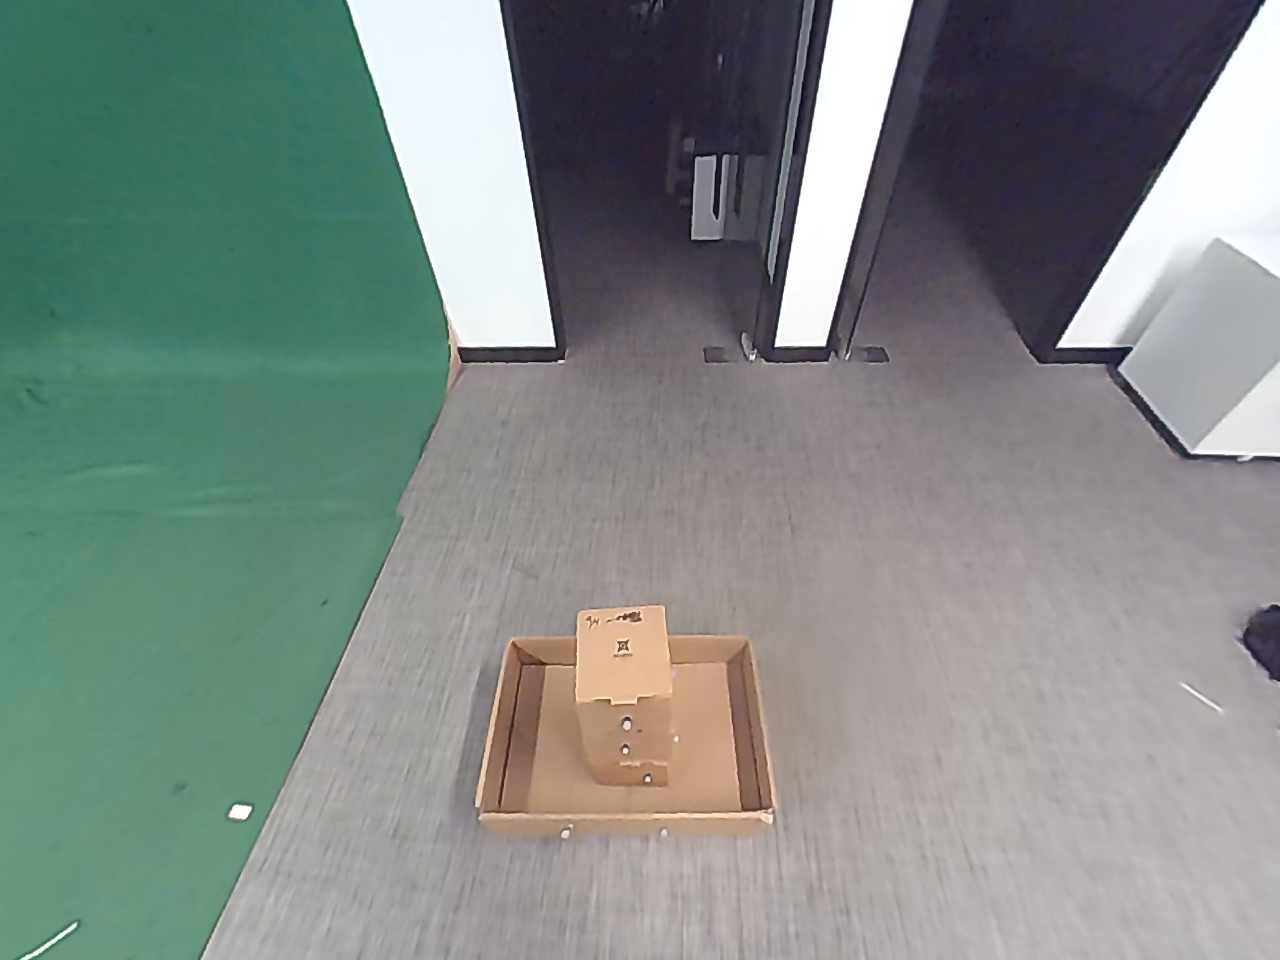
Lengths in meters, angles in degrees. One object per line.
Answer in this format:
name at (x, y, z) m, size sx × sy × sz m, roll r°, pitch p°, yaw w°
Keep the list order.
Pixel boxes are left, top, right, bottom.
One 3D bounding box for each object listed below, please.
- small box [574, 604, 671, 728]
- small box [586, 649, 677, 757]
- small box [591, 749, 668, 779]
small box at (-0.029, 0.356, 1.022) m, size 0.168 × 0.176 × 0.179 m, roll -3°, pitch 47°, yaw 0°
small box at (-0.019, 0.470, 1.139) m, size 0.179 × 0.176 × 0.168 m, roll -3°, pitch 47°, yaw -2°
small box at (-0.017, 0.581, 1.259) m, size 0.168 × 0.176 × 0.179 m, roll 0°, pitch 45°, yaw 2°
